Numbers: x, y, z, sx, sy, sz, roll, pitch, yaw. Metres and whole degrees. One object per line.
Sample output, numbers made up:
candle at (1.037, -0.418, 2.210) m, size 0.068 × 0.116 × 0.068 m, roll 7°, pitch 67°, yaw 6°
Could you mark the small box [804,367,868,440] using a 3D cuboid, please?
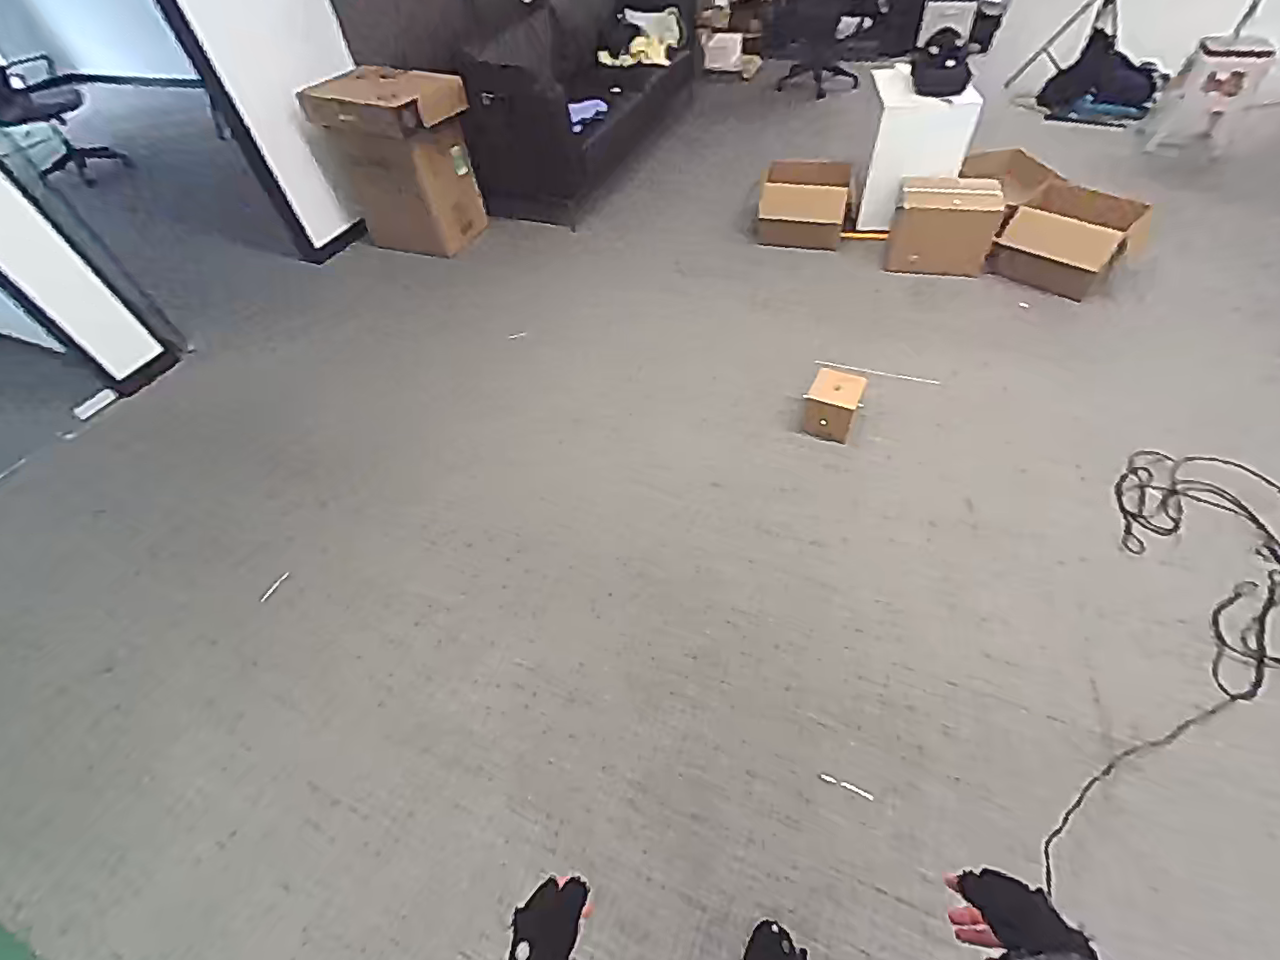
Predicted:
small box at (0.698, -0.272, 1.939) m, size 0.168 × 0.176 × 0.179 m, roll 21°, pitch 56°, yaw 21°
